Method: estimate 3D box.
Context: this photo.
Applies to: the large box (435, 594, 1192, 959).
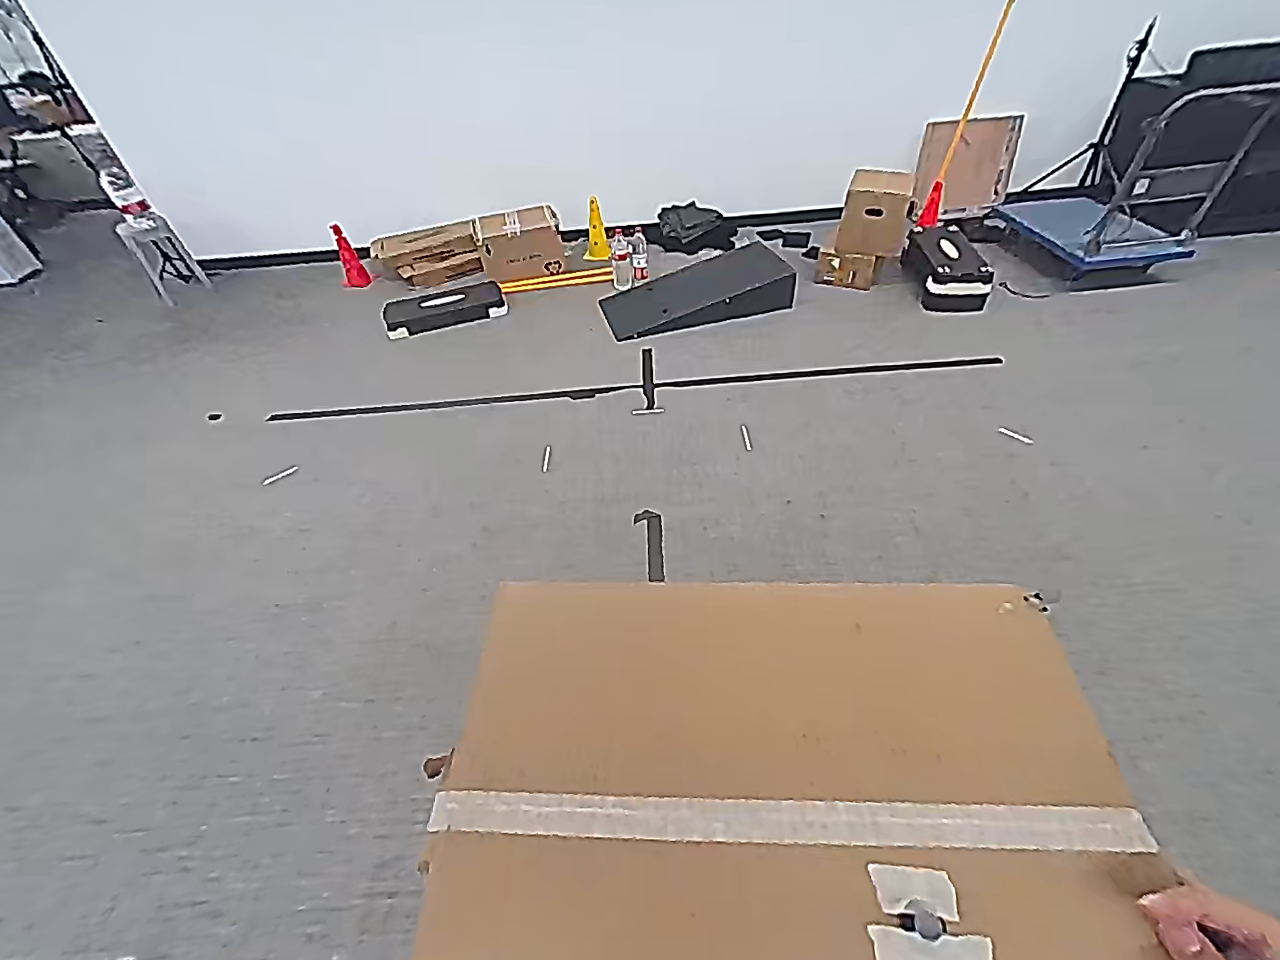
[{"bbox_3d":[0.093,0.303,0.438,0.408,0.320,0.320,0,51,3],"label":"large box"}]
